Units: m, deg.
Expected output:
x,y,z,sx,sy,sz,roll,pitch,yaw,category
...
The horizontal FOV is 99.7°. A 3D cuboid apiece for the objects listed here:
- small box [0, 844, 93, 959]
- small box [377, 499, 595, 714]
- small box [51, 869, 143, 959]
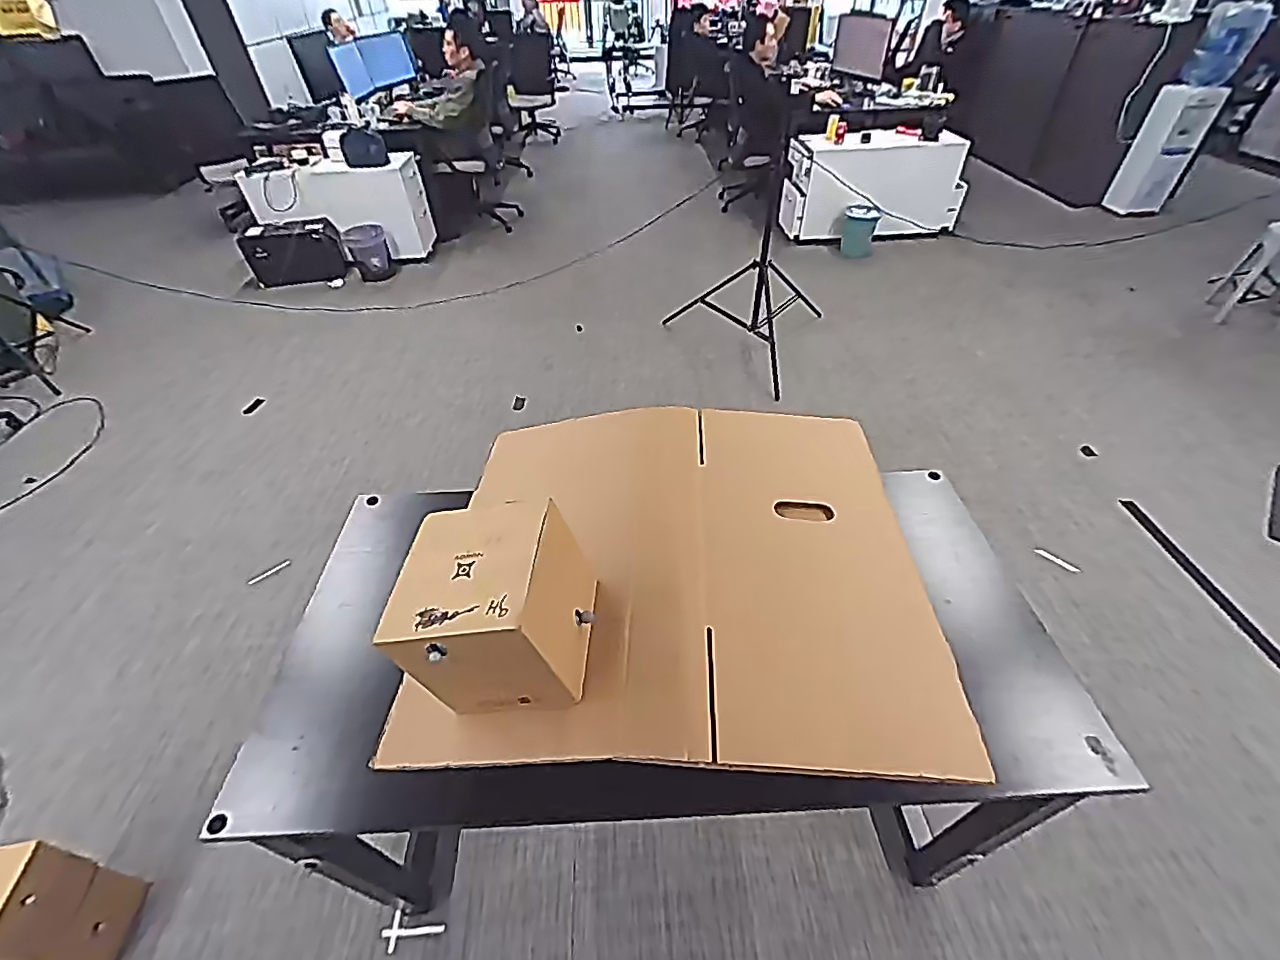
x,y,z,sx,sy,sz,roll,pitch,yaw,category
-1.209,0.821,1.017,0.168,0.176,0.179,-7,43,-6,small box
-0.161,0.150,0.635,0.168,0.176,0.179,-10,42,13,small box
-1.203,0.942,1.125,0.168,0.176,0.179,-6,44,-4,small box
